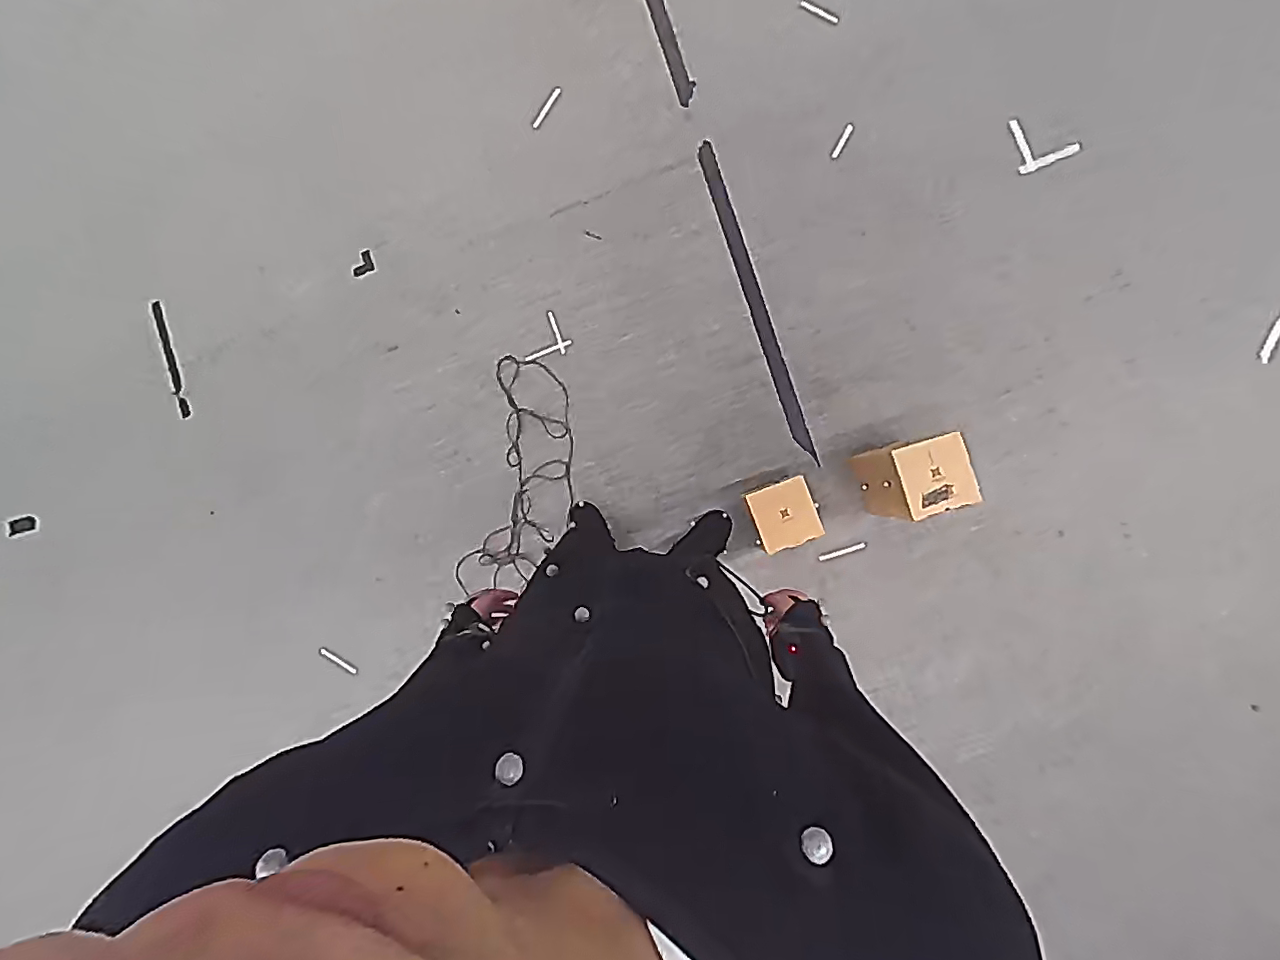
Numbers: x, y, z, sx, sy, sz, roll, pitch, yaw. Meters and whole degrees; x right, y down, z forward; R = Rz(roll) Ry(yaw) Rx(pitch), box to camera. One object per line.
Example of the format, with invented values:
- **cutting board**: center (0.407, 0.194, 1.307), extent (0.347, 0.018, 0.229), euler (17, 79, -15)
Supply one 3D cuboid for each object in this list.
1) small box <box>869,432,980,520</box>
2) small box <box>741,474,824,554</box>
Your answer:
- **small box**: center (0.696, -0.009, 1.343), extent (0.168, 0.176, 0.179), euler (-17, 87, 4)
- **small box**: center (0.395, 0.093, 1.533), extent (0.168, 0.176, 0.179), euler (-21, 88, 4)
